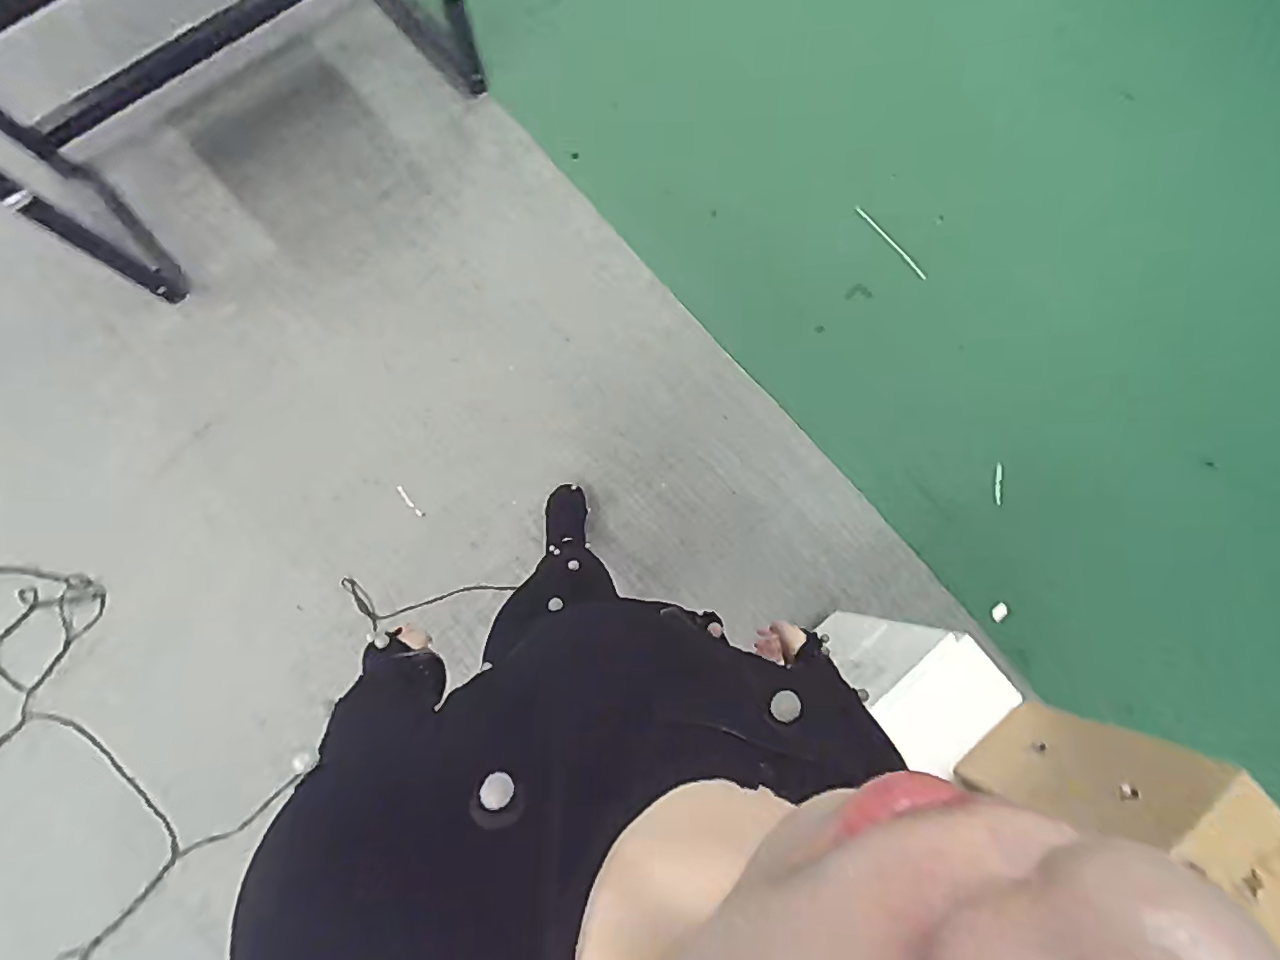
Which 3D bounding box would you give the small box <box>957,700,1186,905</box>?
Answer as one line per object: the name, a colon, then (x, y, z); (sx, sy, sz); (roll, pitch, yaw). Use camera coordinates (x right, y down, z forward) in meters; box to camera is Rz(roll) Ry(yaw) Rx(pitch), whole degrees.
small box: (0.636, 0.469, 0.822); (0.179, 0.176, 0.168); (-39, 85, -6)
